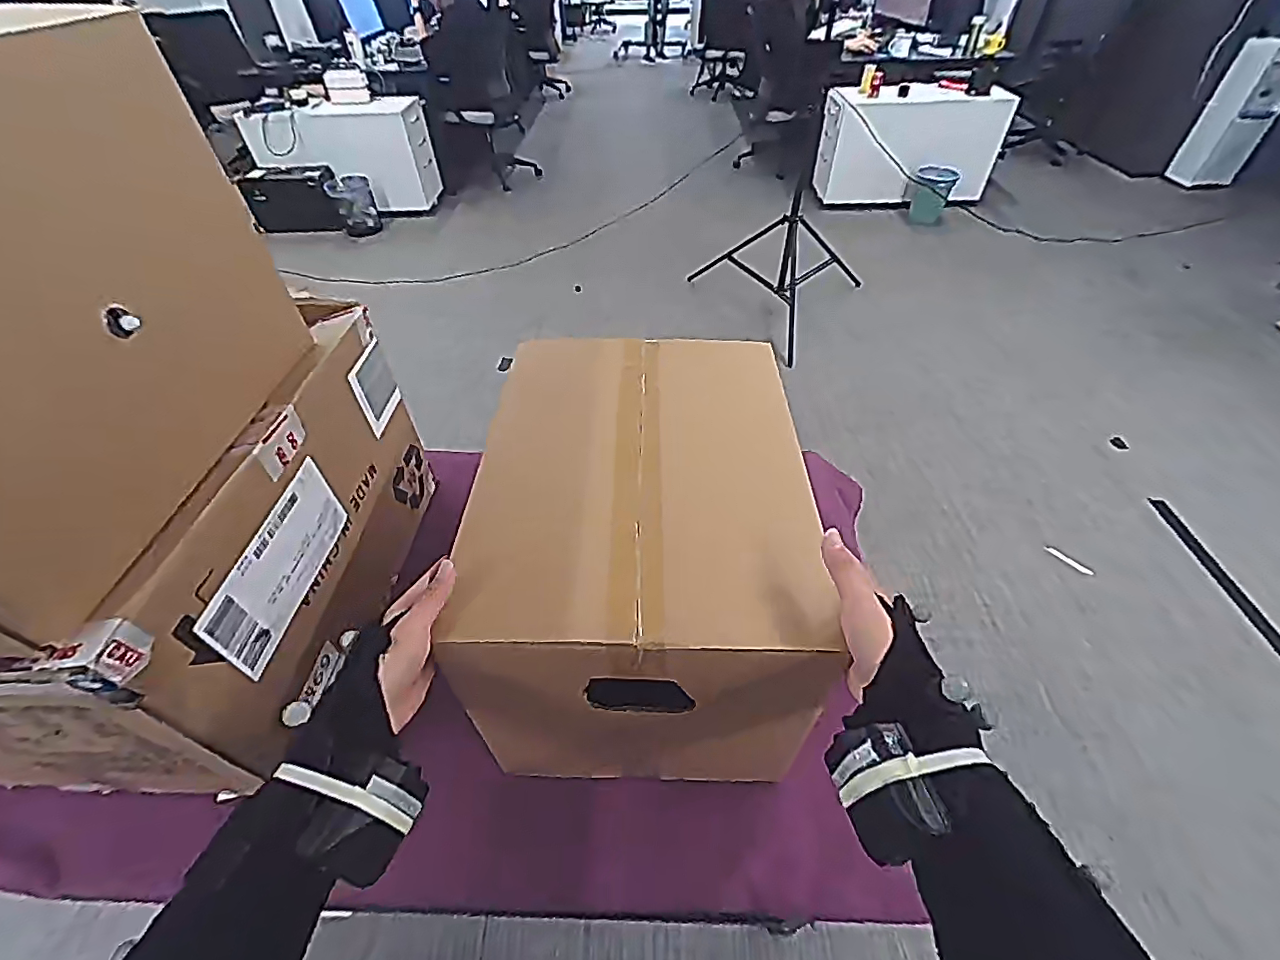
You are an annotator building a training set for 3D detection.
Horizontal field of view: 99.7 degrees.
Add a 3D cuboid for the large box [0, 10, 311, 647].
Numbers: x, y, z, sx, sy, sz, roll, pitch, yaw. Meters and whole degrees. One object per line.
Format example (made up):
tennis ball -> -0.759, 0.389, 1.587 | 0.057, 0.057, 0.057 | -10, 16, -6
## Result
large box -> -0.543, -0.127, 0.413 | 0.320, 0.320, 0.408 | -1, 47, 2
